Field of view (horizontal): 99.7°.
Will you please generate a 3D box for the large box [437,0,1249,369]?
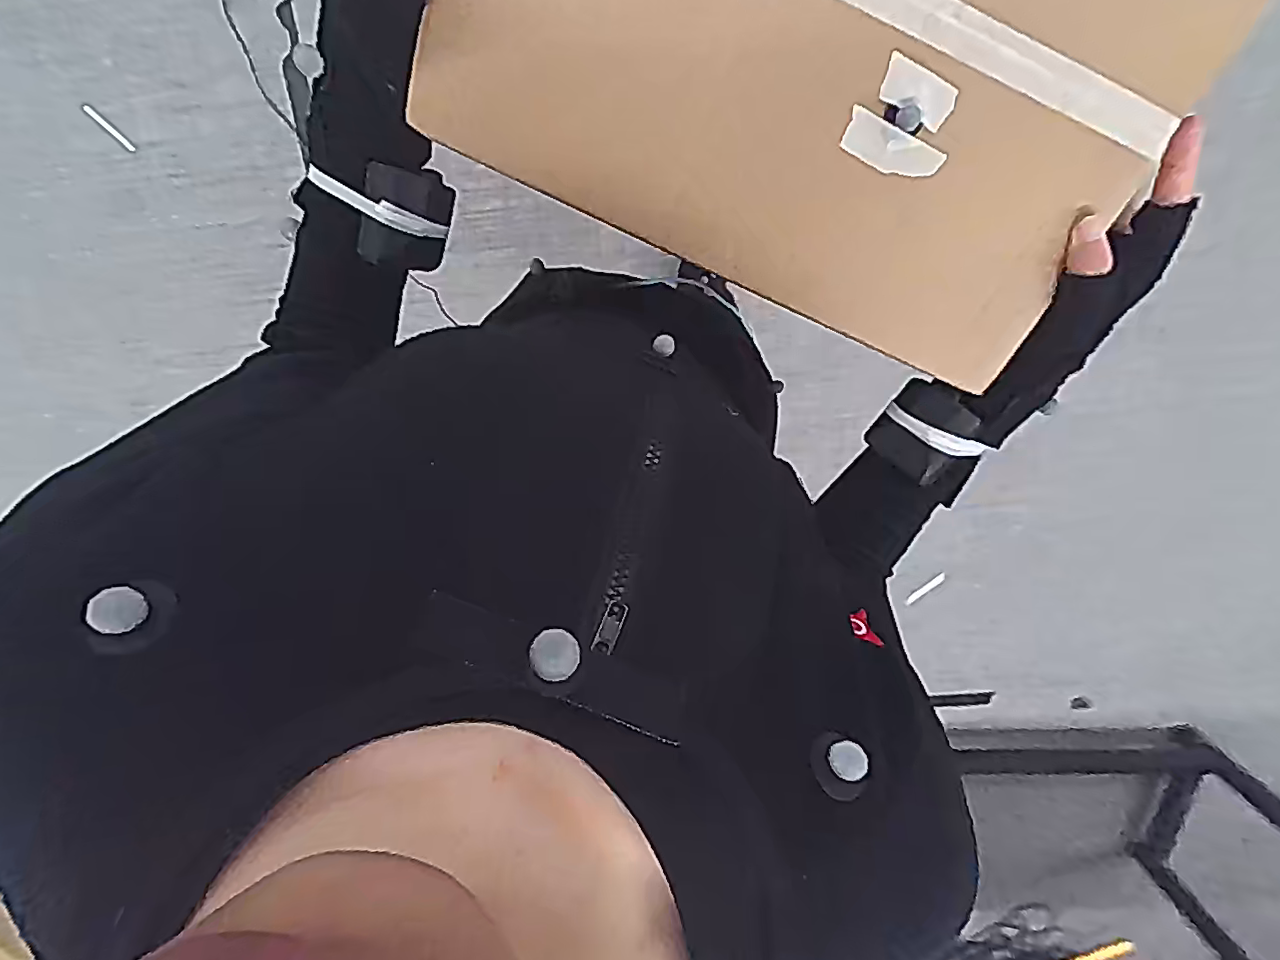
[{"bbox_3d":[0.121,-0.336,0.426,0.408,0.320,0.320,23,116,-6],"label":"large box"}]
